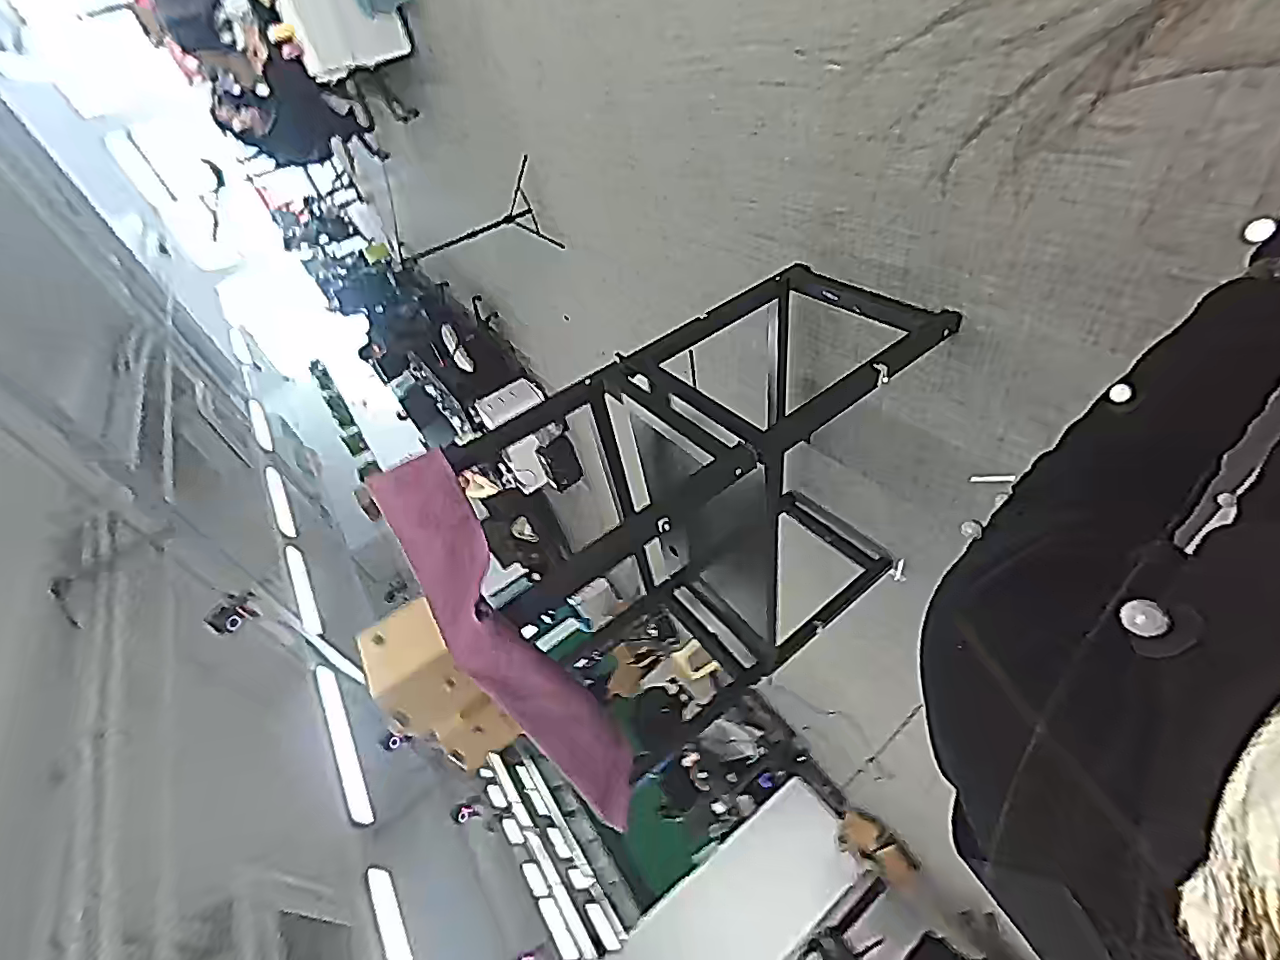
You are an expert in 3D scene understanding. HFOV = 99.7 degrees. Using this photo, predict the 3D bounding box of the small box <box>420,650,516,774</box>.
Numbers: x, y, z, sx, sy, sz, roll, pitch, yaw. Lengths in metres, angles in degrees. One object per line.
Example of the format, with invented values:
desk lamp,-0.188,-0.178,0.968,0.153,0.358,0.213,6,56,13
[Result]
small box,-0.414,0.544,1.283,0.179,0.176,0.168,40,154,44

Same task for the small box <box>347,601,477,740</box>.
small box,-0.453,0.370,1.088,0.179,0.176,0.168,38,155,46
